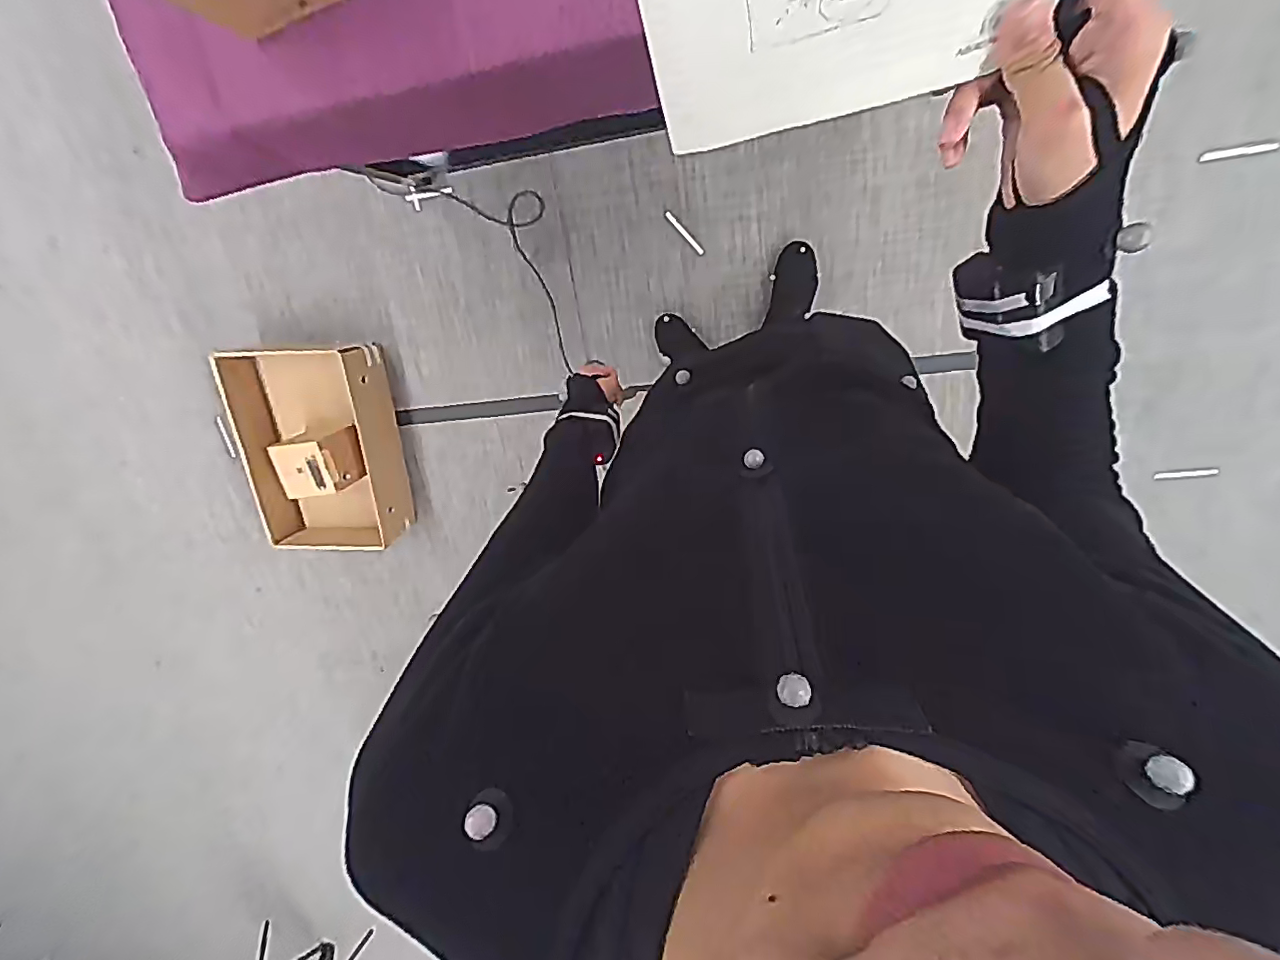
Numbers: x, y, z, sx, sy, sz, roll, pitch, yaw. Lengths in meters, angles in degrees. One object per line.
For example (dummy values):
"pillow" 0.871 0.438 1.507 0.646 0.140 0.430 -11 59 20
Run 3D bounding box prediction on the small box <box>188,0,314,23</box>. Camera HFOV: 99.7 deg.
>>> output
"small box" -0.480 -0.663 0.611 0.168 0.176 0.179 -13 109 11
